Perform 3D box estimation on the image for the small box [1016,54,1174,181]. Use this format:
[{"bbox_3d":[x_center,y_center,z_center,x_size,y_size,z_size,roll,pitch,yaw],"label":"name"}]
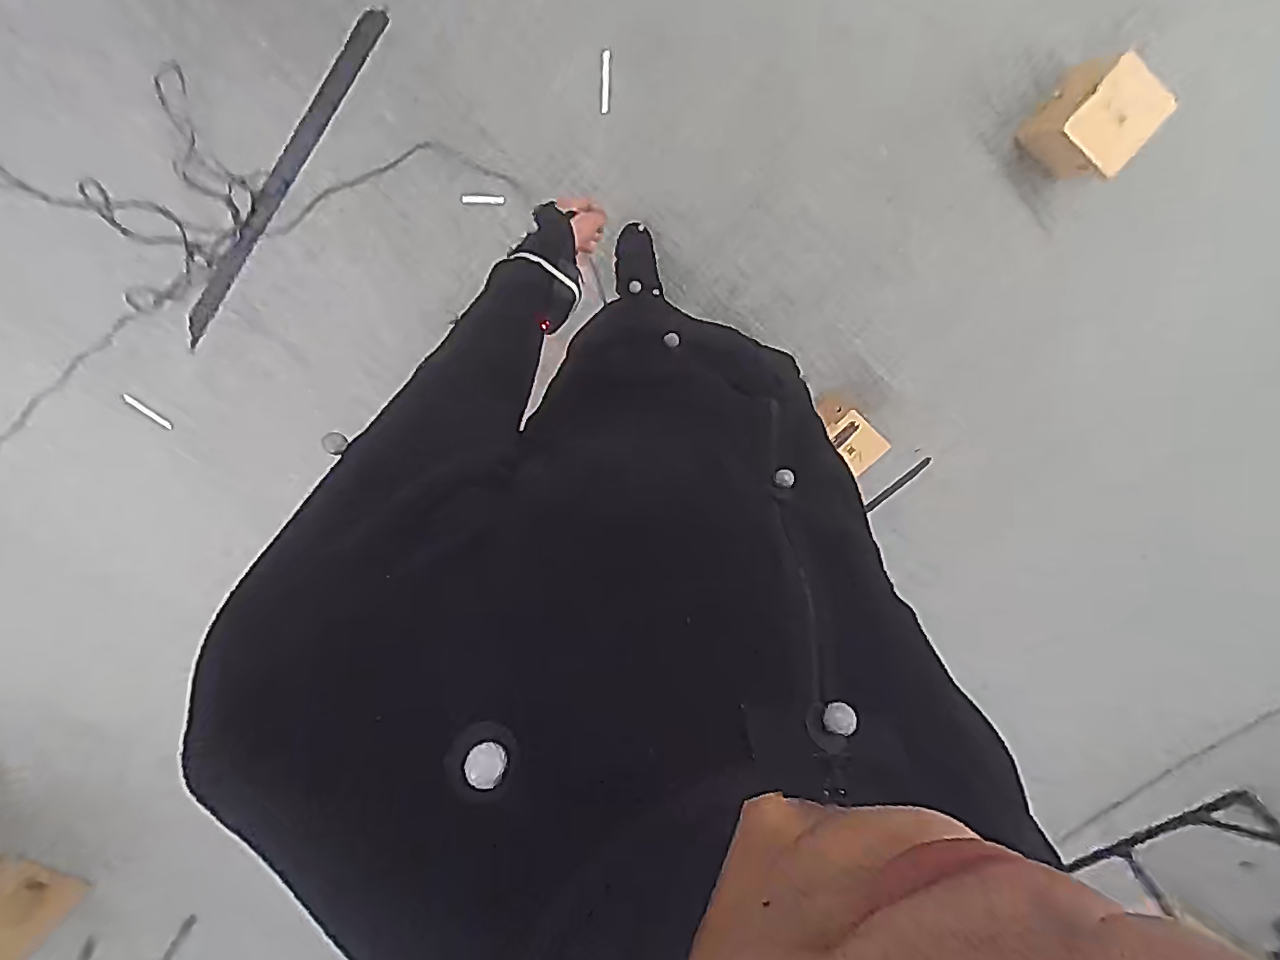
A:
[{"bbox_3d":[1.016,-0.807,1.222,0.179,0.176,0.168,30,114,-15],"label":"small box"}]
